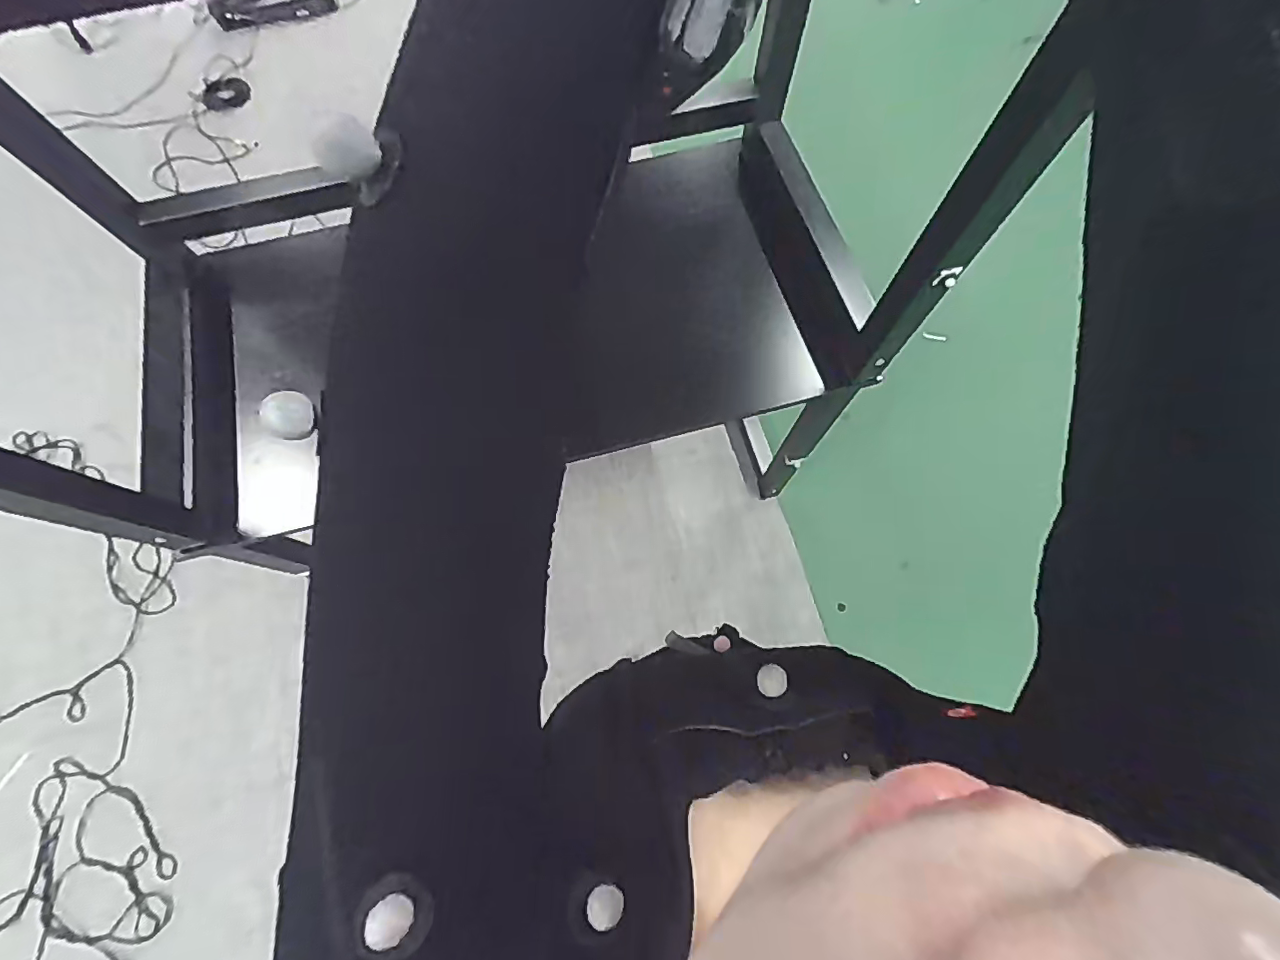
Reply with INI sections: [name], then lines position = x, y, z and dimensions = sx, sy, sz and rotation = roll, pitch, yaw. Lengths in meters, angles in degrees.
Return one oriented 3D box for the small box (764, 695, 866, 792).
[small box]
position = 0.417, 0.639, 1.330
dimensions = 0.179, 0.176, 0.168
rotation = -16, 72, -4
